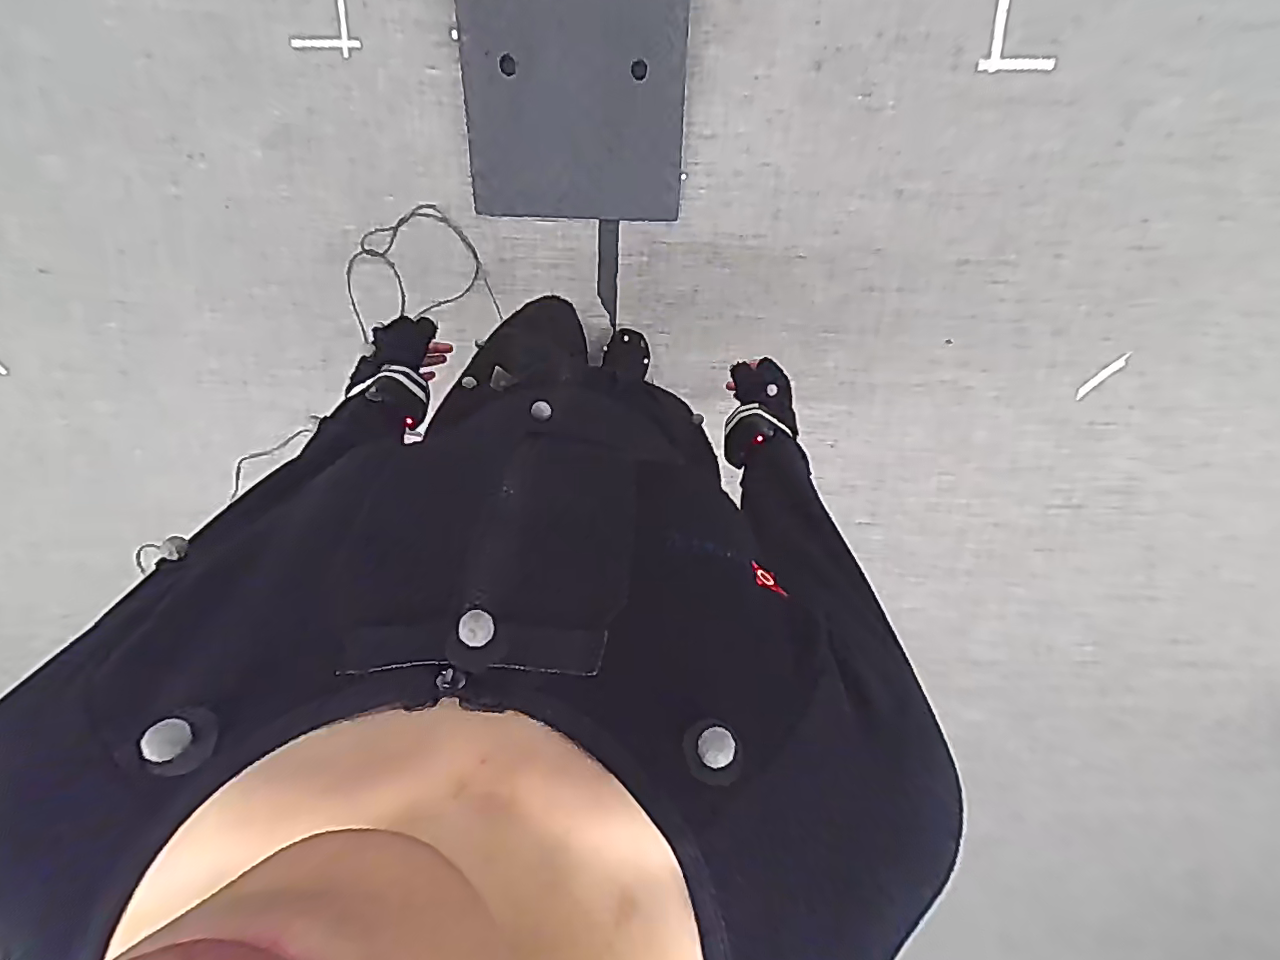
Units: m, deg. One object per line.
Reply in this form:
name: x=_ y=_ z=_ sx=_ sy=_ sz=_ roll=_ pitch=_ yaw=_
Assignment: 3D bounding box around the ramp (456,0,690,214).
ramp: x=-0.135 y=-1.092 z=1.080 sx=0.509 sy=0.206 sz=0.991 roll=-1 pitch=107 yaw=-1
